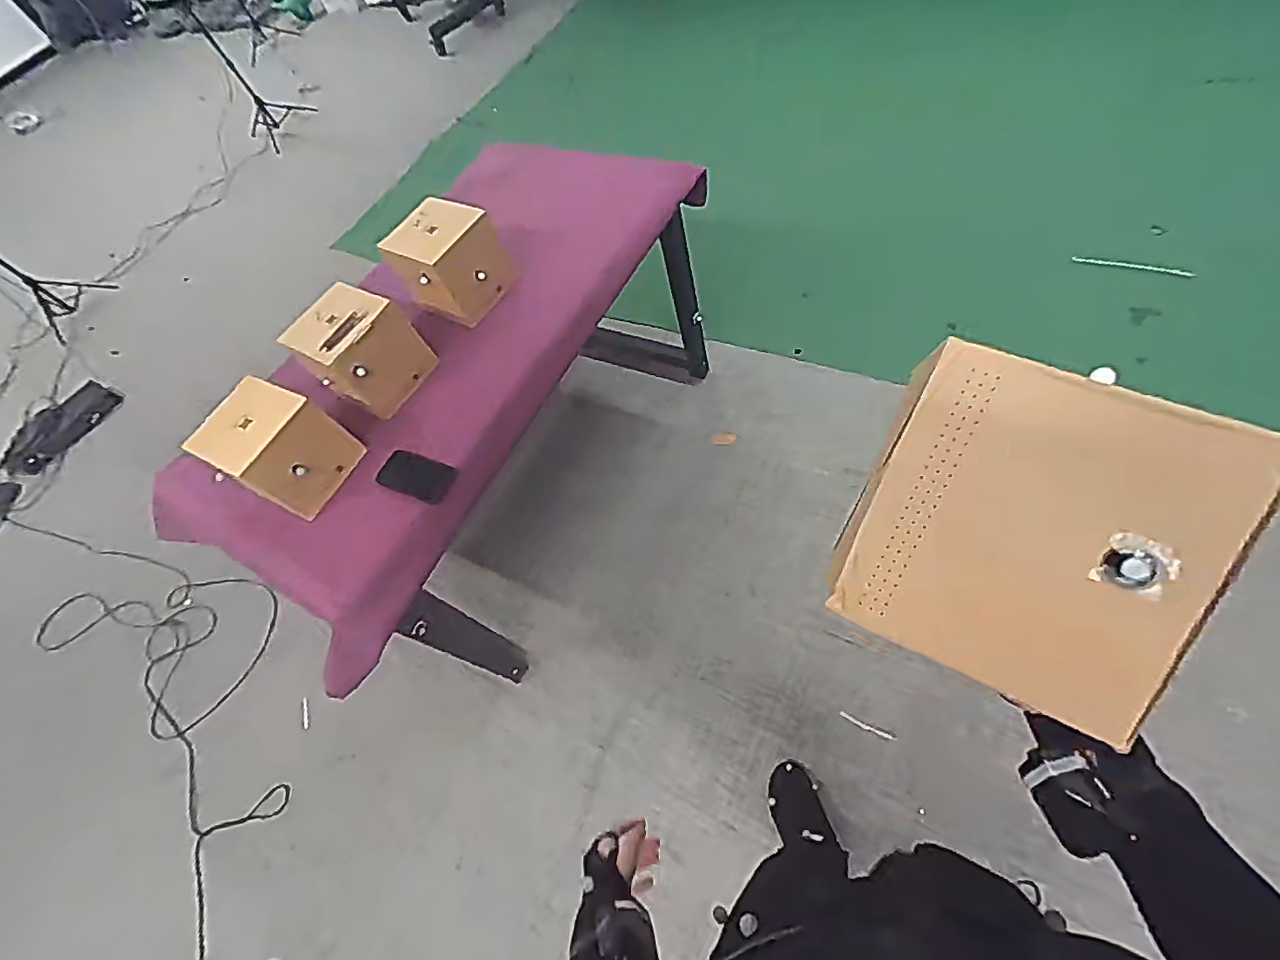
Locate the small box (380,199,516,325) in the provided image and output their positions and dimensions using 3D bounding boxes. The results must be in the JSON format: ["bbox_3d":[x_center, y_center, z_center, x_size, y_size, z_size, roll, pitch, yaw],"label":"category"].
[{"bbox_3d":[-0.396,-0.457,1.145,0.179,0.176,0.168,25,69,26],"label":"small box"}]

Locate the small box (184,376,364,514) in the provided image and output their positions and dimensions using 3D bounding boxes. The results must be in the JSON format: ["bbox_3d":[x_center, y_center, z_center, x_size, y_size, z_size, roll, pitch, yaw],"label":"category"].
[{"bbox_3d":[-0.648,-0.057,0.979,0.179,0.176,0.168,19,67,24],"label":"small box"}]
